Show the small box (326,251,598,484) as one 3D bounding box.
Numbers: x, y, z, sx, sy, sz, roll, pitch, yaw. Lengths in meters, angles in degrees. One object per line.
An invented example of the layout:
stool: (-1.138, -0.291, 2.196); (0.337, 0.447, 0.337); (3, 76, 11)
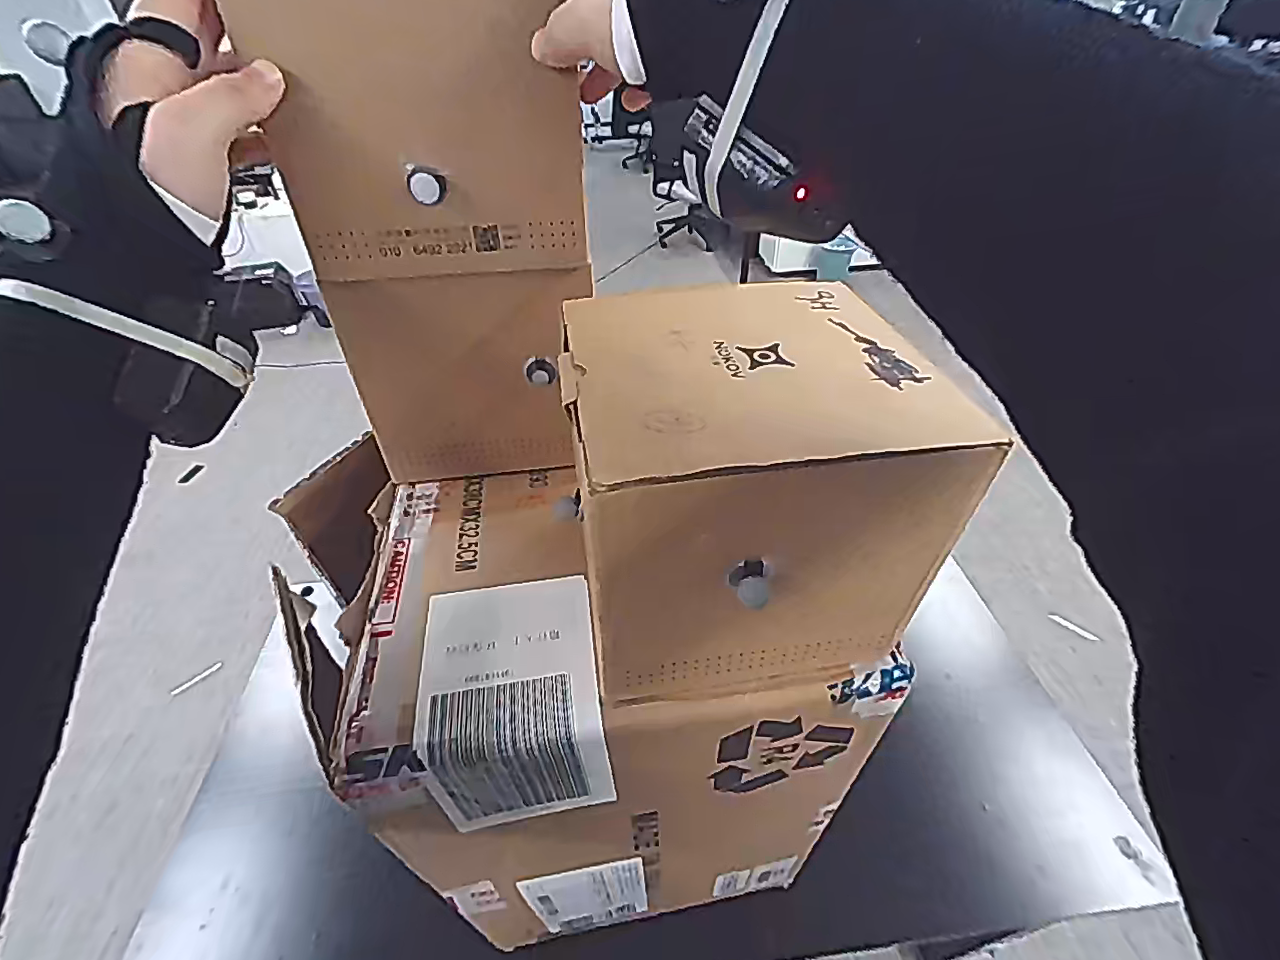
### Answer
small box: (-0.127, -0.115, 0.466); (0.179, 0.176, 0.168); (-7, 38, -6)

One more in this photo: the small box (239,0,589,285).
small box: (-0.125, -0.240, 0.358); (0.168, 0.176, 0.179); (-6, 39, -7)

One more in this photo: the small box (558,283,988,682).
small box: (0.052, 0.001, 0.328); (0.179, 0.176, 0.168); (-7, 44, -6)
